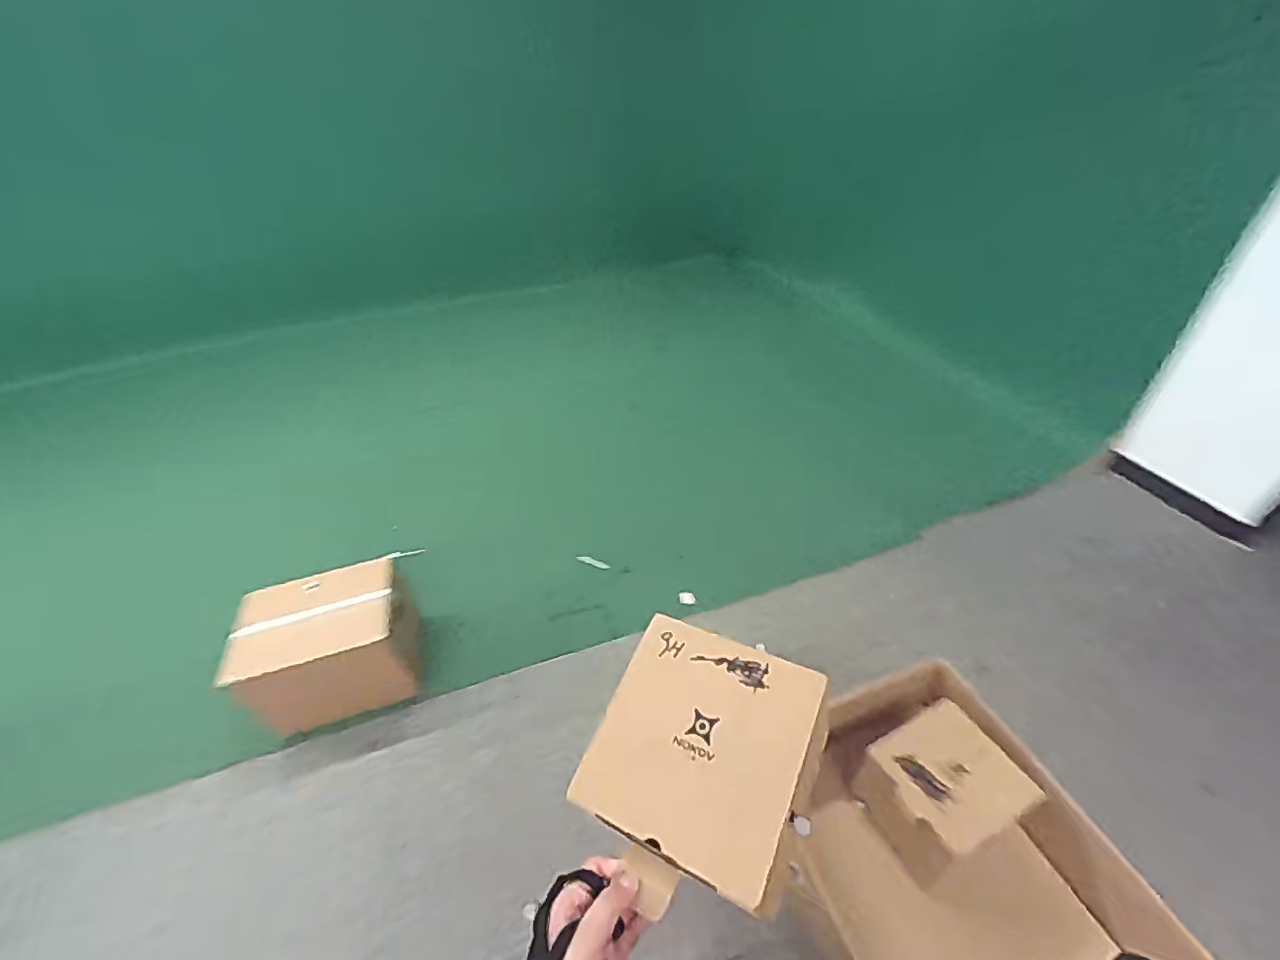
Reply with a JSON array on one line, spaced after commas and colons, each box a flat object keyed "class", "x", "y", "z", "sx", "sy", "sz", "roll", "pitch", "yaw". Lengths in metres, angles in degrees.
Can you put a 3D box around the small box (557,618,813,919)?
[{"class": "small box", "x": 0.058, "y": 0.262, "z": 0.500, "sx": 0.168, "sy": 0.176, "sz": 0.179, "roll": 13, "pitch": 57, "yaw": 27}]
